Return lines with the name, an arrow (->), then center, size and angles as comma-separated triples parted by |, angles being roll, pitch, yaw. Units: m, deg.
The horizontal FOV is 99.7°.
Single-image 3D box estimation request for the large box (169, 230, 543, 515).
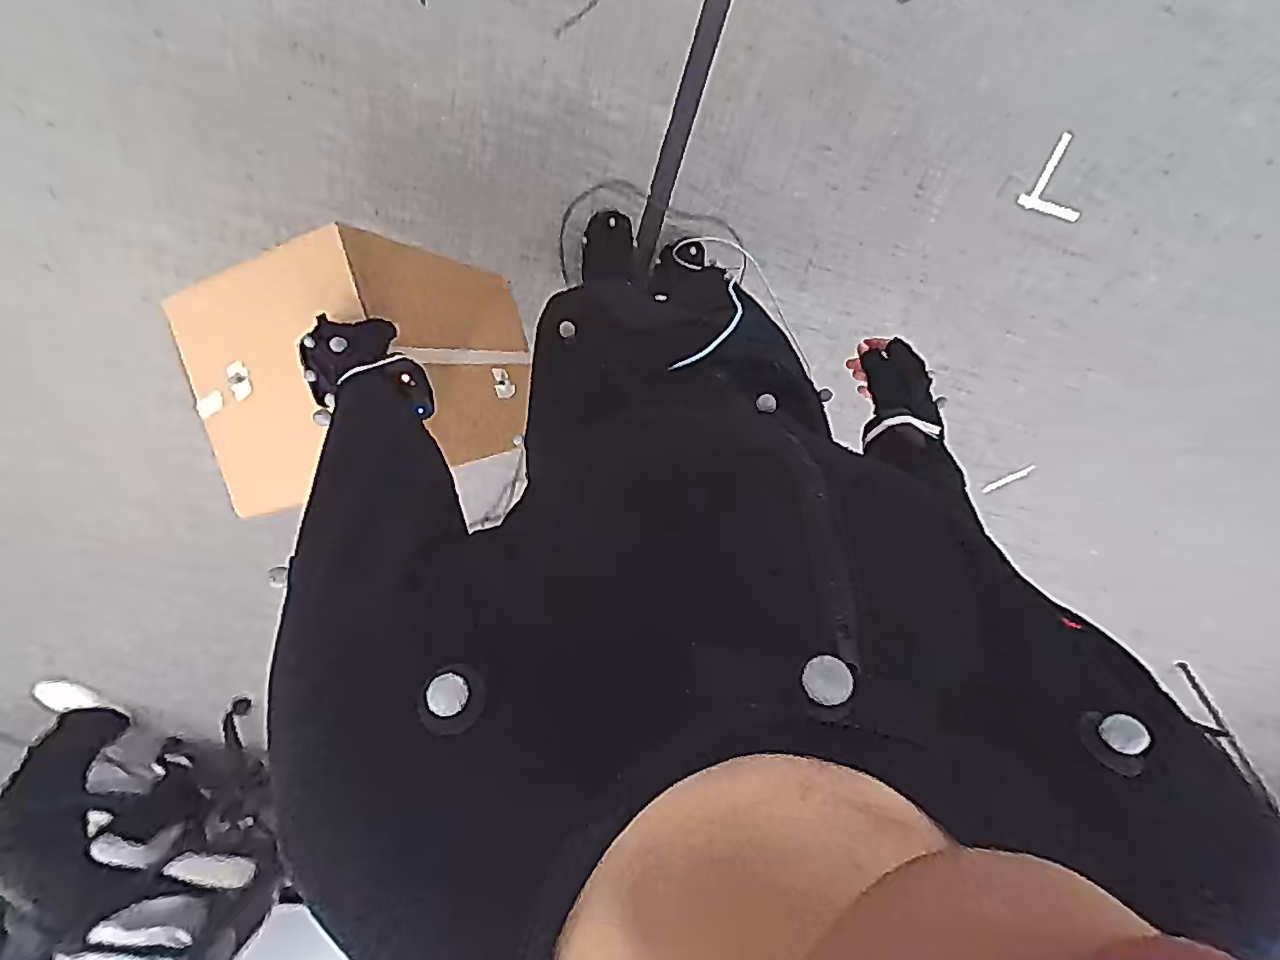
large box -> -0.420, -0.163, 0.896 | 0.320, 0.408, 0.320 | -12, 97, 17
